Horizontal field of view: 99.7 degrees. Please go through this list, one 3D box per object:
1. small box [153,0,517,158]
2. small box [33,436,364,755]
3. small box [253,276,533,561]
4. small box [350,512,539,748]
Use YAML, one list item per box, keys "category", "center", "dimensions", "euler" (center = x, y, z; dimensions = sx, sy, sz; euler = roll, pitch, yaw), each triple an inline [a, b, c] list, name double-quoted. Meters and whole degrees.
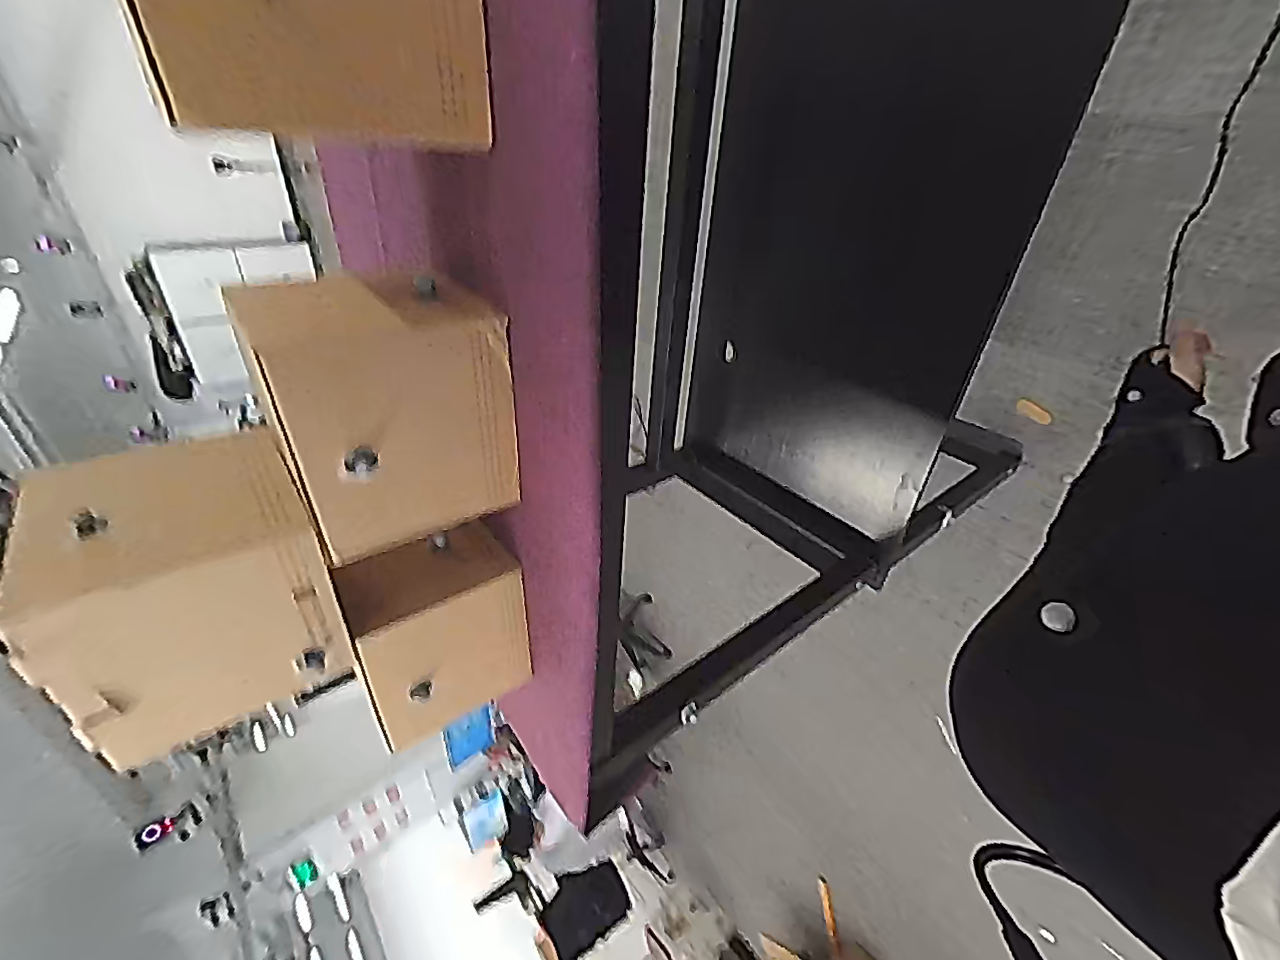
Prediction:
- category: "small box"
  center: [-0.188, -0.302, 0.325]
  dimensions: [0.168, 0.176, 0.179]
  euler: [38, 137, 40]
- category: "small box"
  center: [-0.350, 0.079, 0.460]
  dimensions: [0.179, 0.176, 0.168]
  euler: [39, 135, 39]
- category: "small box"
  center: [-0.203, -0.066, 0.473]
  dimensions: [0.168, 0.176, 0.179]
  euler: [37, 135, 40]
- category: "small box"
  center: [-0.227, 0.154, 0.622]
  dimensions: [0.168, 0.176, 0.179]
  euler: [34, 134, 41]
